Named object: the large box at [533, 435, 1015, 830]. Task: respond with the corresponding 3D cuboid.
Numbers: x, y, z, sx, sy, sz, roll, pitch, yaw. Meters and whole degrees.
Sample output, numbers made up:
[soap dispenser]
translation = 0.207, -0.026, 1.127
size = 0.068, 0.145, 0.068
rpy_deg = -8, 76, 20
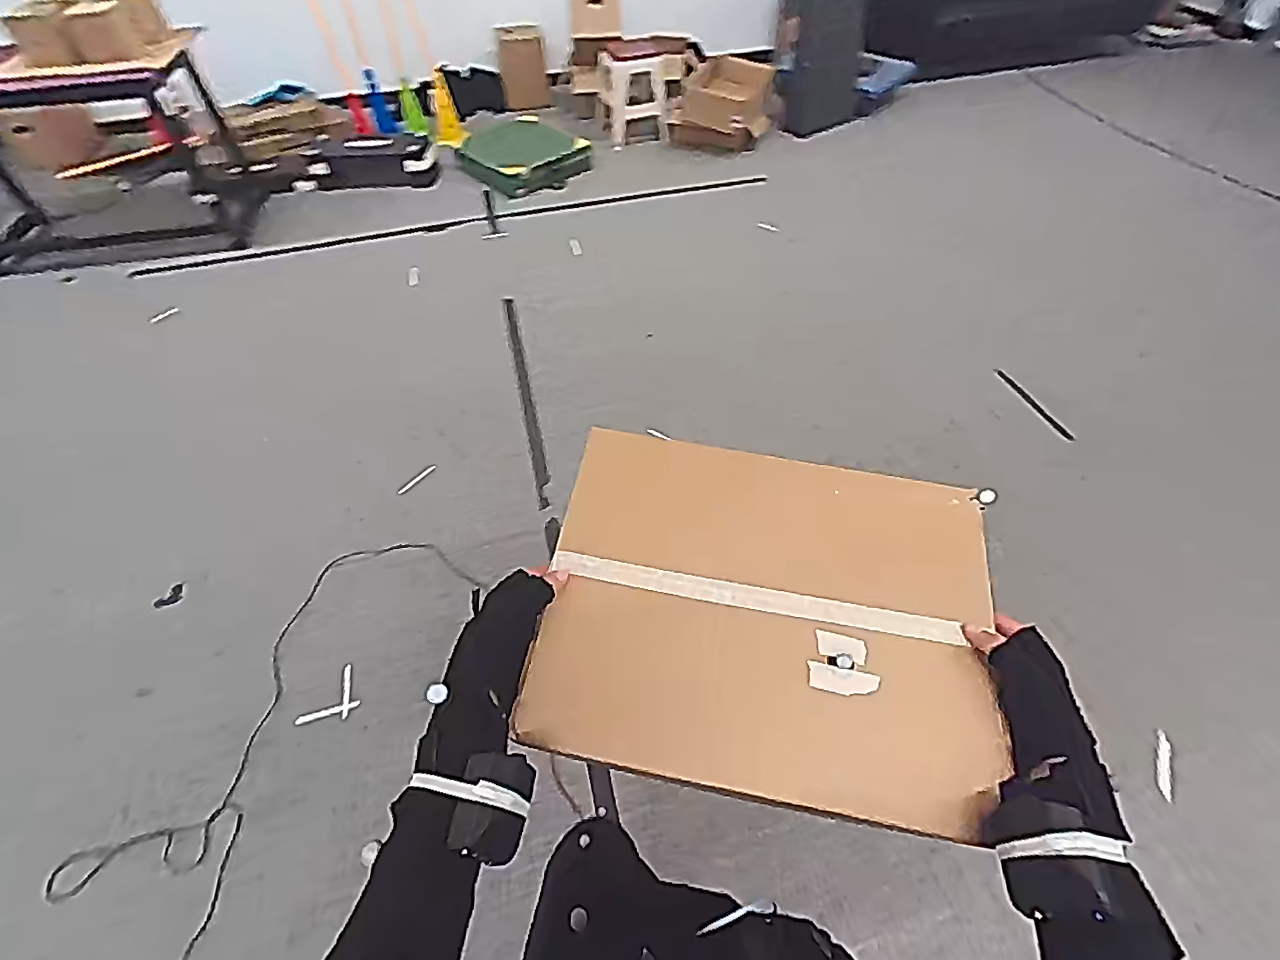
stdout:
[large box]
translation = 0.126, 0.183, 0.639
size = 0.408, 0.320, 0.320
rpy_deg = 10, 63, 5
